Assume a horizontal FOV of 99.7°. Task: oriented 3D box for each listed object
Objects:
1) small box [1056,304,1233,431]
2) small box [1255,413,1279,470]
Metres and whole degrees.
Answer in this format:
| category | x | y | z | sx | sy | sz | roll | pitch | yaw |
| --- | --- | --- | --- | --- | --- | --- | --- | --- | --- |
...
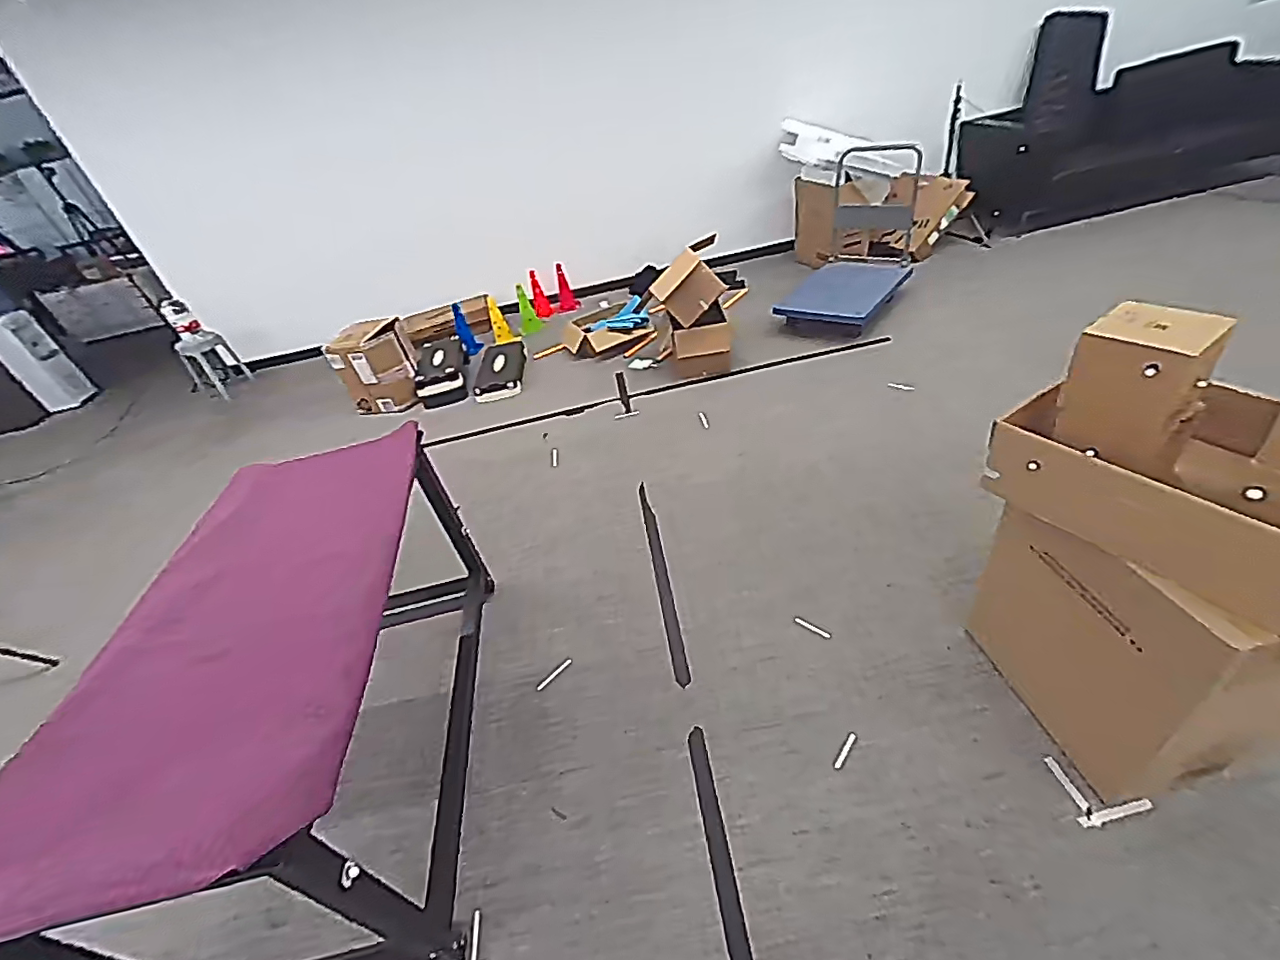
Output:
| category | x | y | z | sx | sy | sz | roll | pitch | yaw |
| --- | --- | --- | --- | --- | --- | --- | --- | --- | --- |
| small box | 0.959 | -0.214 | 1.045 | 0.168 | 0.176 | 0.179 | -30 | 40 | -20 |
| small box | 1.128 | -0.087 | 0.827 | 0.168 | 0.176 | 0.179 | -24 | 38 | -13 |
